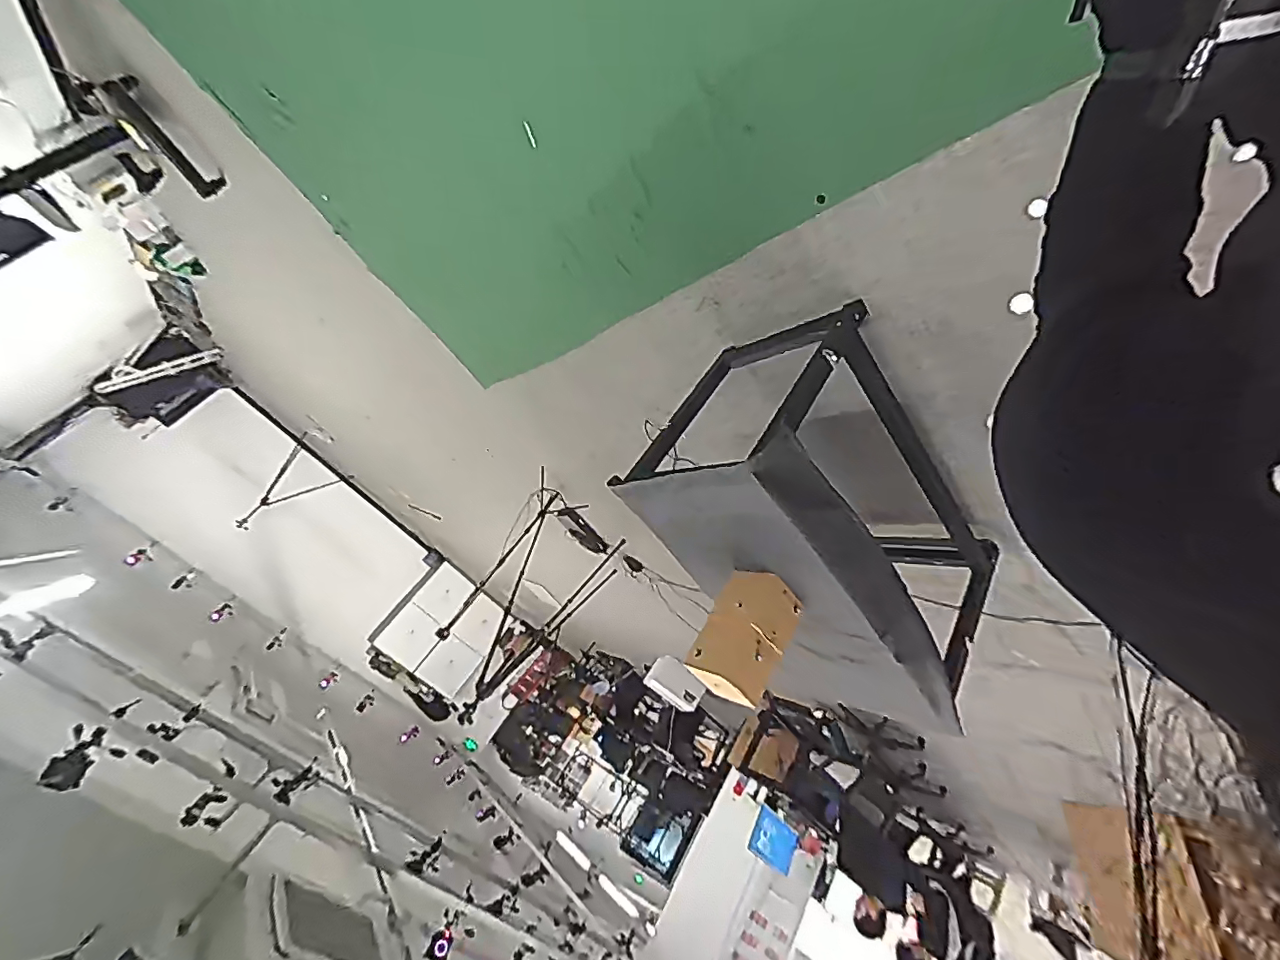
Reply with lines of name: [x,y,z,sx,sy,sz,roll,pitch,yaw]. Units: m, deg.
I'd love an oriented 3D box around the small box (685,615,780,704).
small box: [0.272,0.511,1.566,0.168,0.176,0.179,46,152,-21]

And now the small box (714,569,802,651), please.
small box: [0.361,0.383,1.620,0.168,0.176,0.179,48,153,-22]
